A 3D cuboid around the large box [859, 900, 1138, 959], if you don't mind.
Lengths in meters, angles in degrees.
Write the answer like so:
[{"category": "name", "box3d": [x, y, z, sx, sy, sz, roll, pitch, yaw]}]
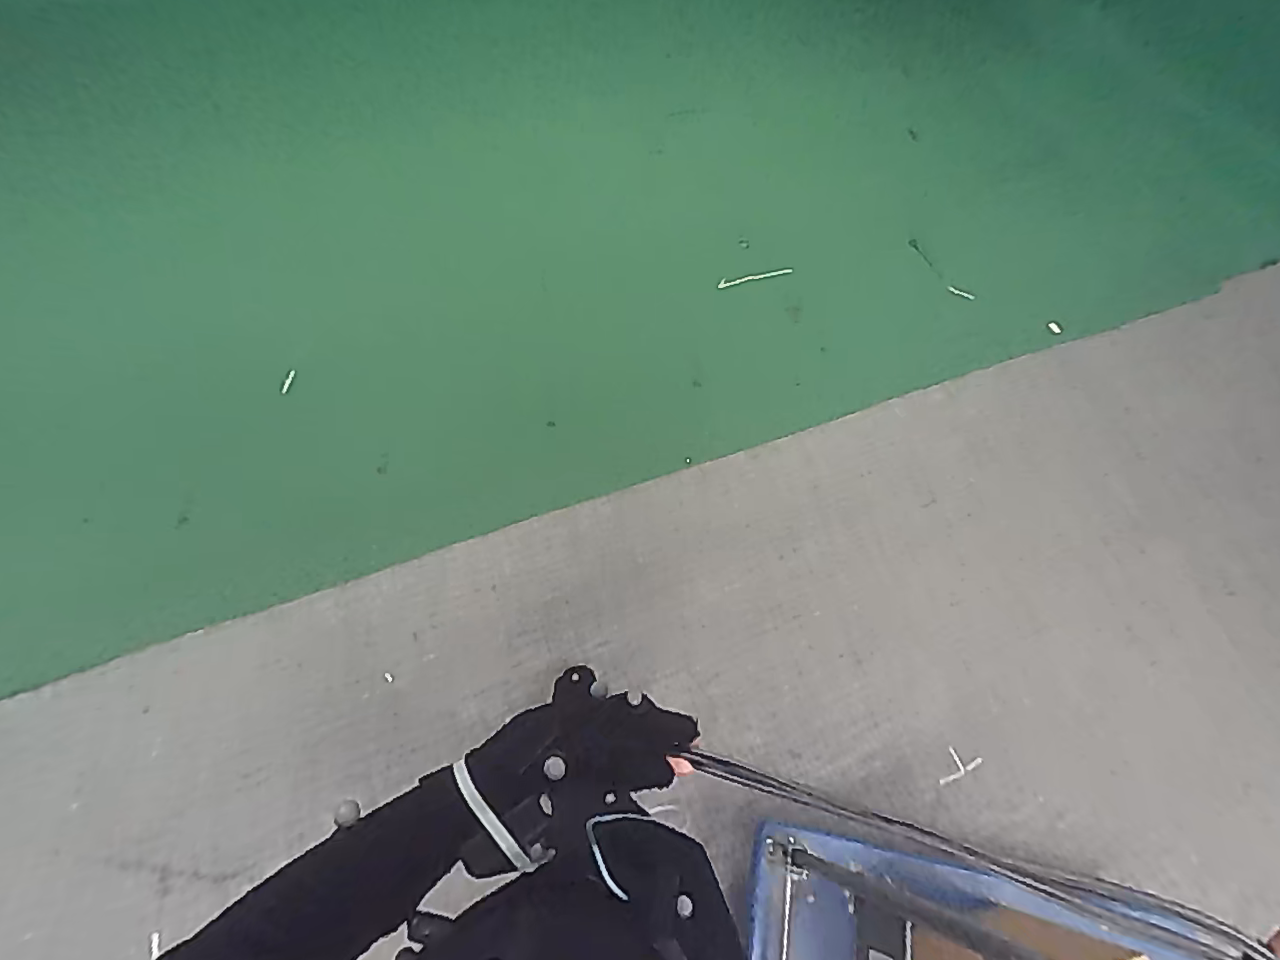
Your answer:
[{"category": "large box", "box3d": [0.600, 0.942, 0.819, 0.320, 0.320, 0.408, -6, 63, -9]}]
